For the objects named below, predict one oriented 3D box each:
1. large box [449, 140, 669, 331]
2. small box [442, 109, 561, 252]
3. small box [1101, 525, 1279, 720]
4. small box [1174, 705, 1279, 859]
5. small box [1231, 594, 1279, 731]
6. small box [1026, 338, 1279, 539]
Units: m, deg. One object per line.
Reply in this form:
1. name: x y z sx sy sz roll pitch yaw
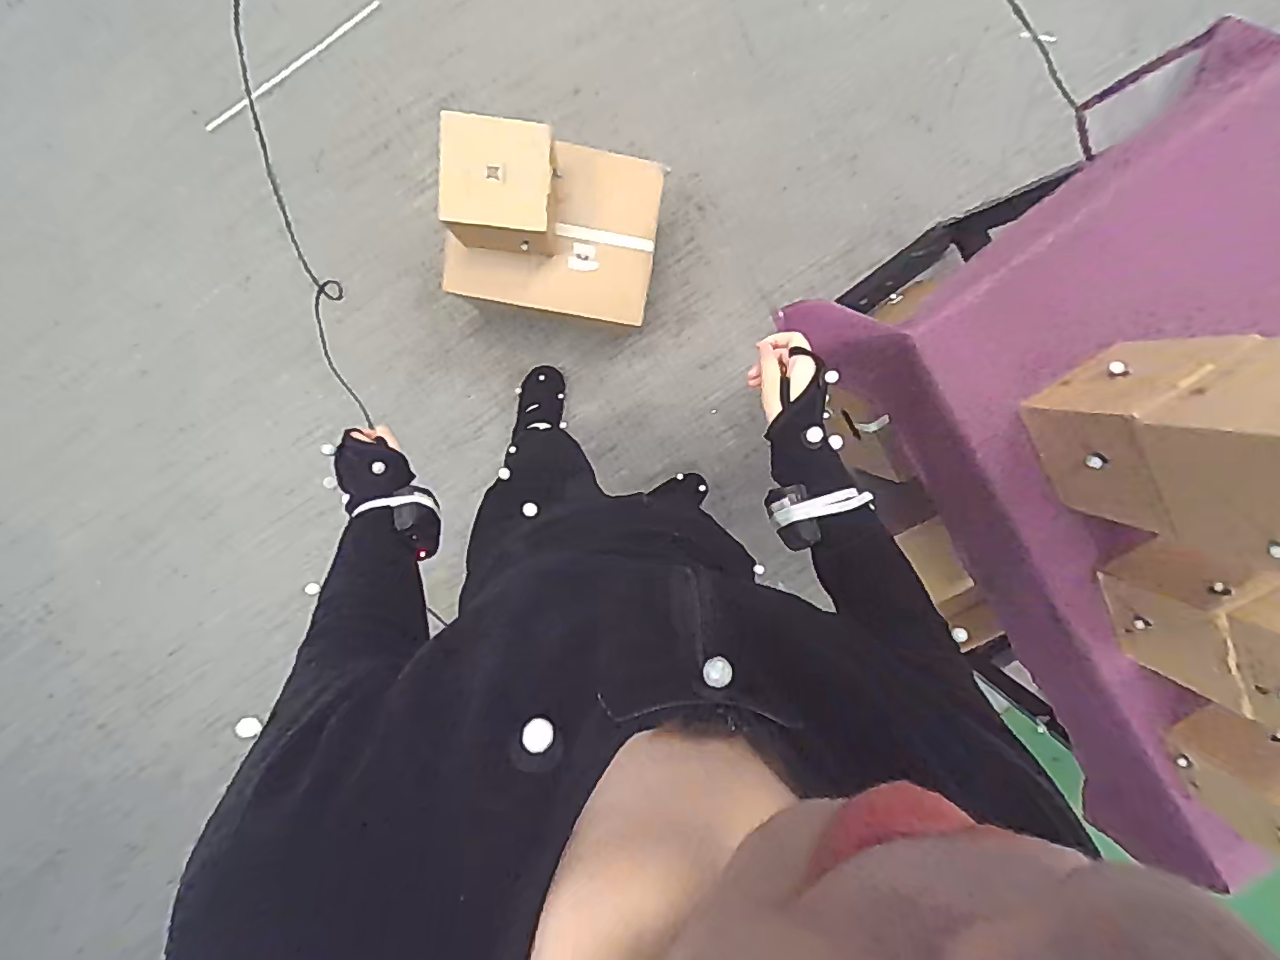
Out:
1. large box: -0.175 -0.526 1.201 0.408 0.320 0.320 8 102 -7
2. small box: -0.233 -0.509 0.947 0.179 0.176 0.168 5 99 -5
3. small box: 0.809 0.183 0.752 0.179 0.176 0.168 -28 102 2
4. small box: 0.973 0.452 0.818 0.179 0.176 0.168 -33 102 2
5. small box: 0.829 0.214 0.591 0.179 0.176 0.168 -27 102 2
6. small box: 0.645 -0.057 0.687 0.168 0.176 0.179 -32 102 3
